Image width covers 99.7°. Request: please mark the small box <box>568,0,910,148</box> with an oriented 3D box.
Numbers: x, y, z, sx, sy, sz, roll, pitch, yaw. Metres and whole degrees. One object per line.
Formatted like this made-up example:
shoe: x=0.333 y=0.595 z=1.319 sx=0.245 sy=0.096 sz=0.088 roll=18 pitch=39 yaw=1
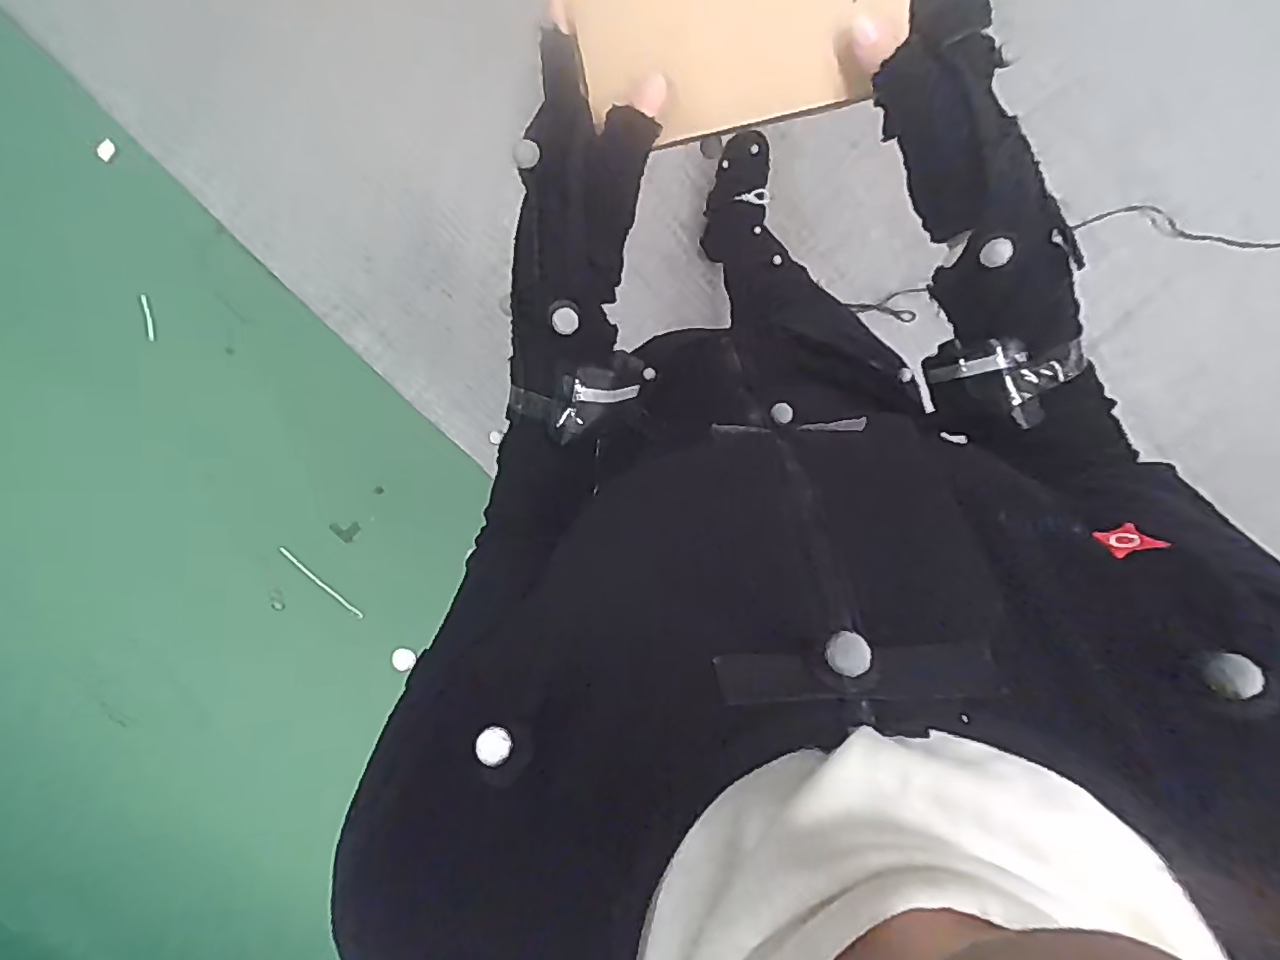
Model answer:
small box: x=0.047 y=-0.325 z=0.337 sx=0.179 sy=0.176 sz=0.168 roll=-11 pitch=117 yaw=9
